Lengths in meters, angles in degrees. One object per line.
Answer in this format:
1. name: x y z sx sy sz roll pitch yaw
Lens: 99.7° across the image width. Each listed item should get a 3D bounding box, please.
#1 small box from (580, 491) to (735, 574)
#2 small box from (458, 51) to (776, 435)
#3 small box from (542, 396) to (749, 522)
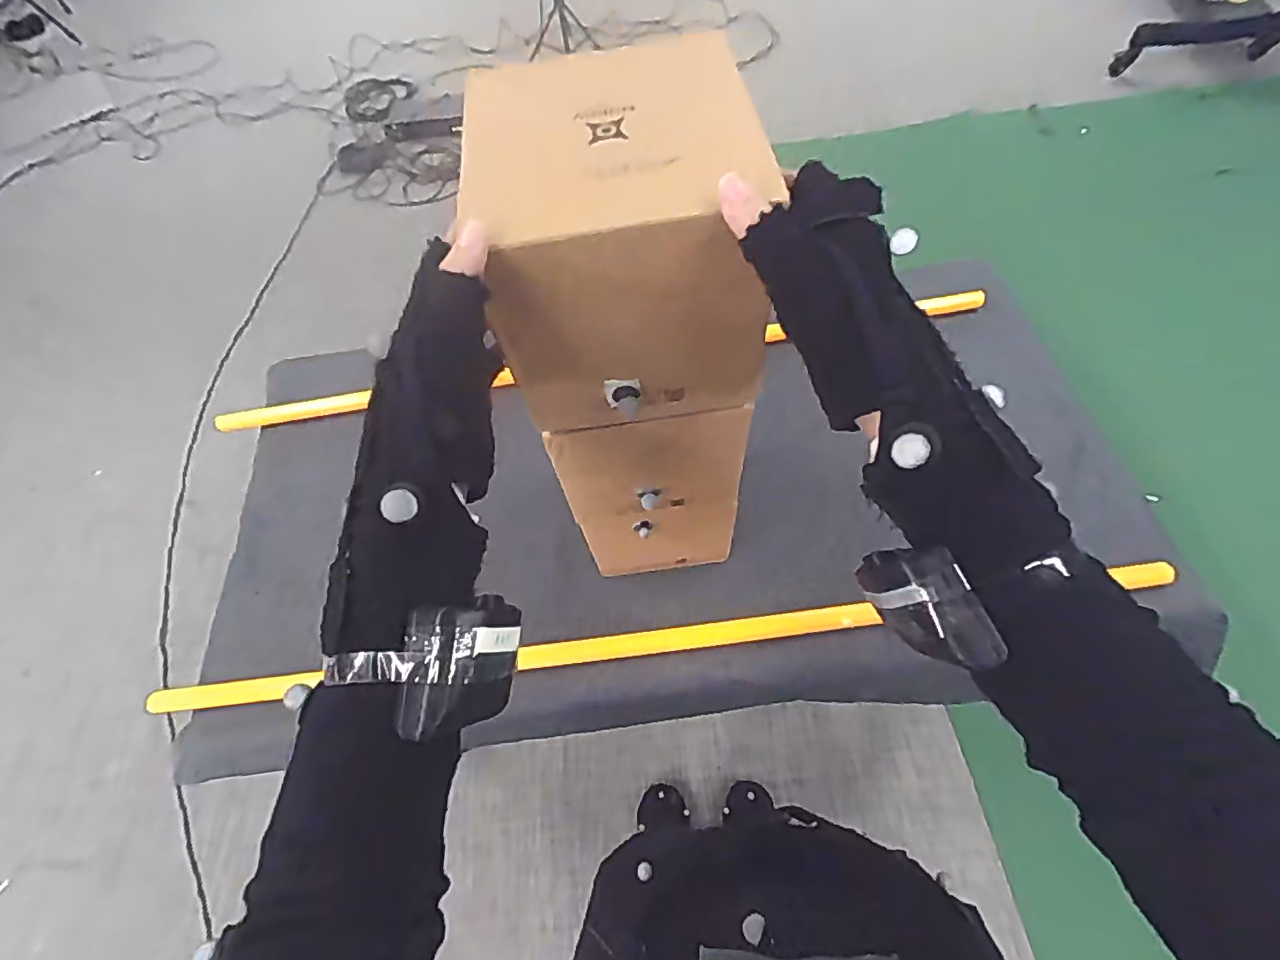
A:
1. small box: 0.017 0.000 0.674 0.168 0.176 0.179 -8 60 2
2. small box: -0.014 -0.156 0.382 0.168 0.176 0.179 -8 61 1
3. small box: 0.001 -0.078 0.530 0.168 0.176 0.179 -8 61 1
